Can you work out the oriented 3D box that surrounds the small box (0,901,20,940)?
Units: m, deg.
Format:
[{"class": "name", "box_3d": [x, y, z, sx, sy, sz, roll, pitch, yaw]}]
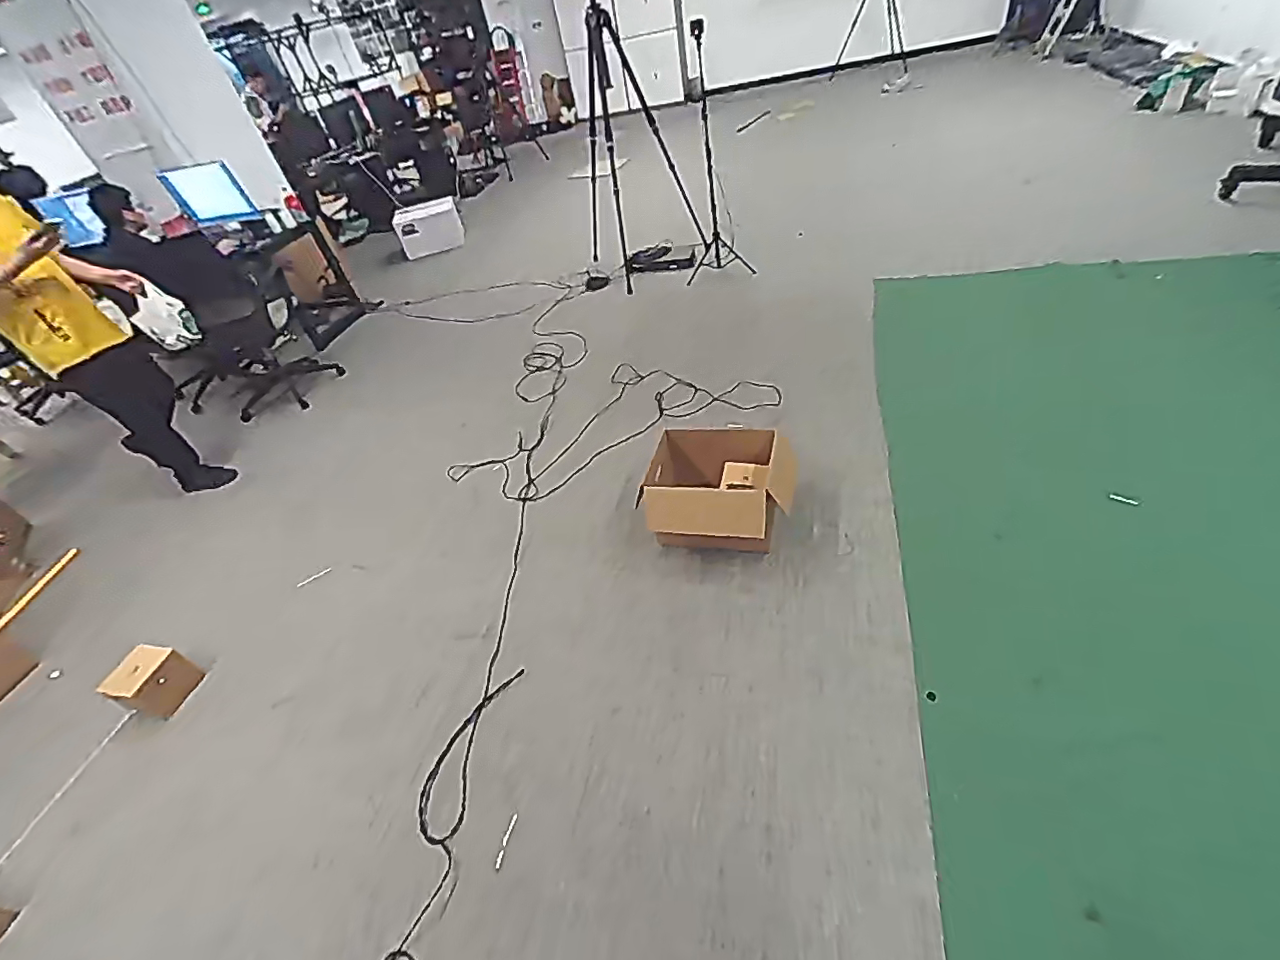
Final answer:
[{"class": "small box", "box_3d": [-1.785, 1.167, 1.380, 0.179, 0.176, 0.168, 1, 45, 16]}]

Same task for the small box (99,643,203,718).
[{"class": "small box", "box_3d": [-1.658, 0.687, 1.853, 0.168, 0.176, 0.179, 1, 45, 16]}]
